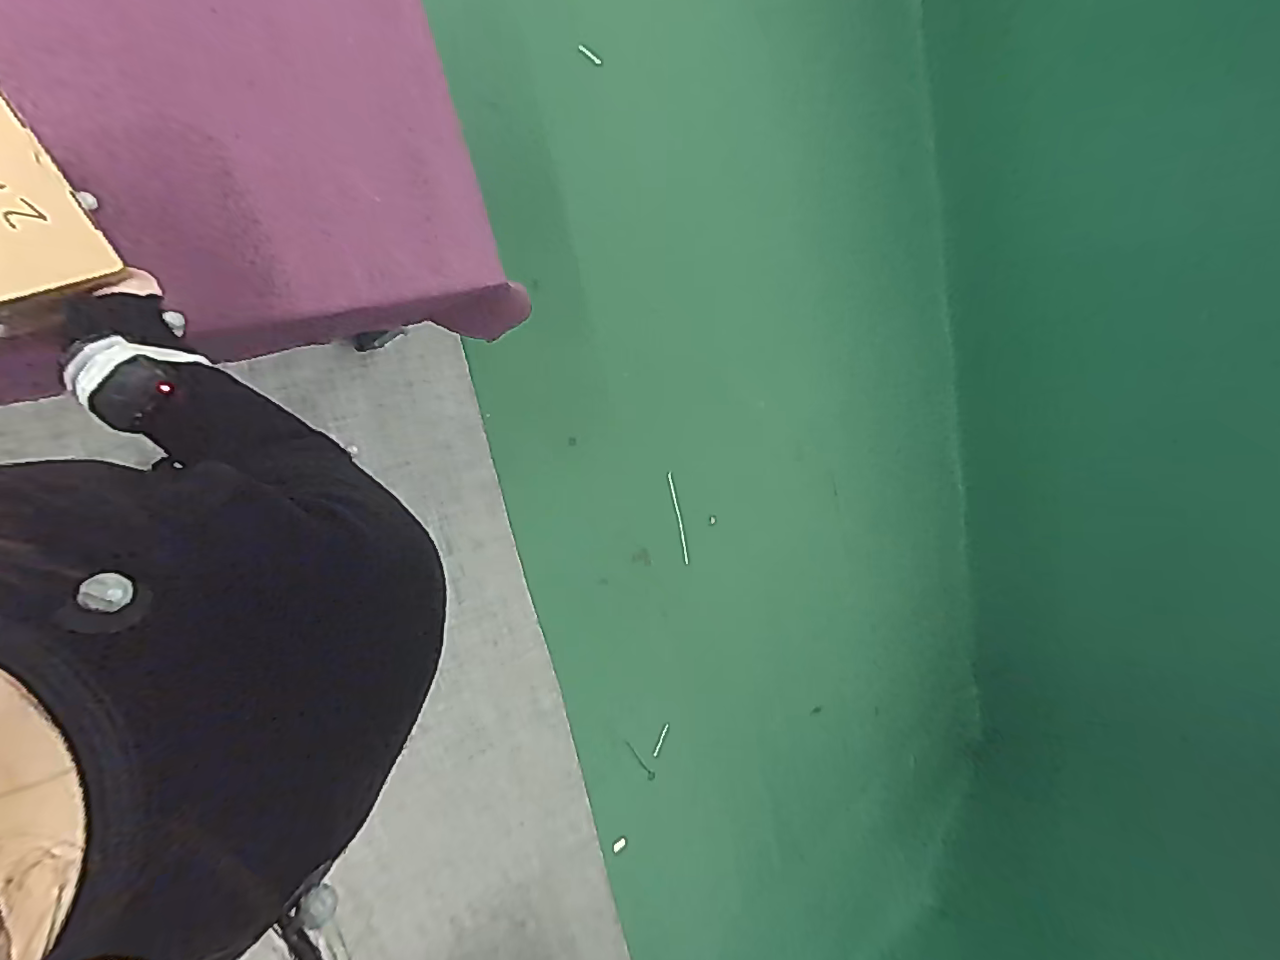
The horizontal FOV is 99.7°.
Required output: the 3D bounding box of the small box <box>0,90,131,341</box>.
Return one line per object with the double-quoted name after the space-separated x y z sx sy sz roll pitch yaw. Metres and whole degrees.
-0.559 -0.204 0.429 0.179 0.176 0.168 -37 120 -31 "small box"
